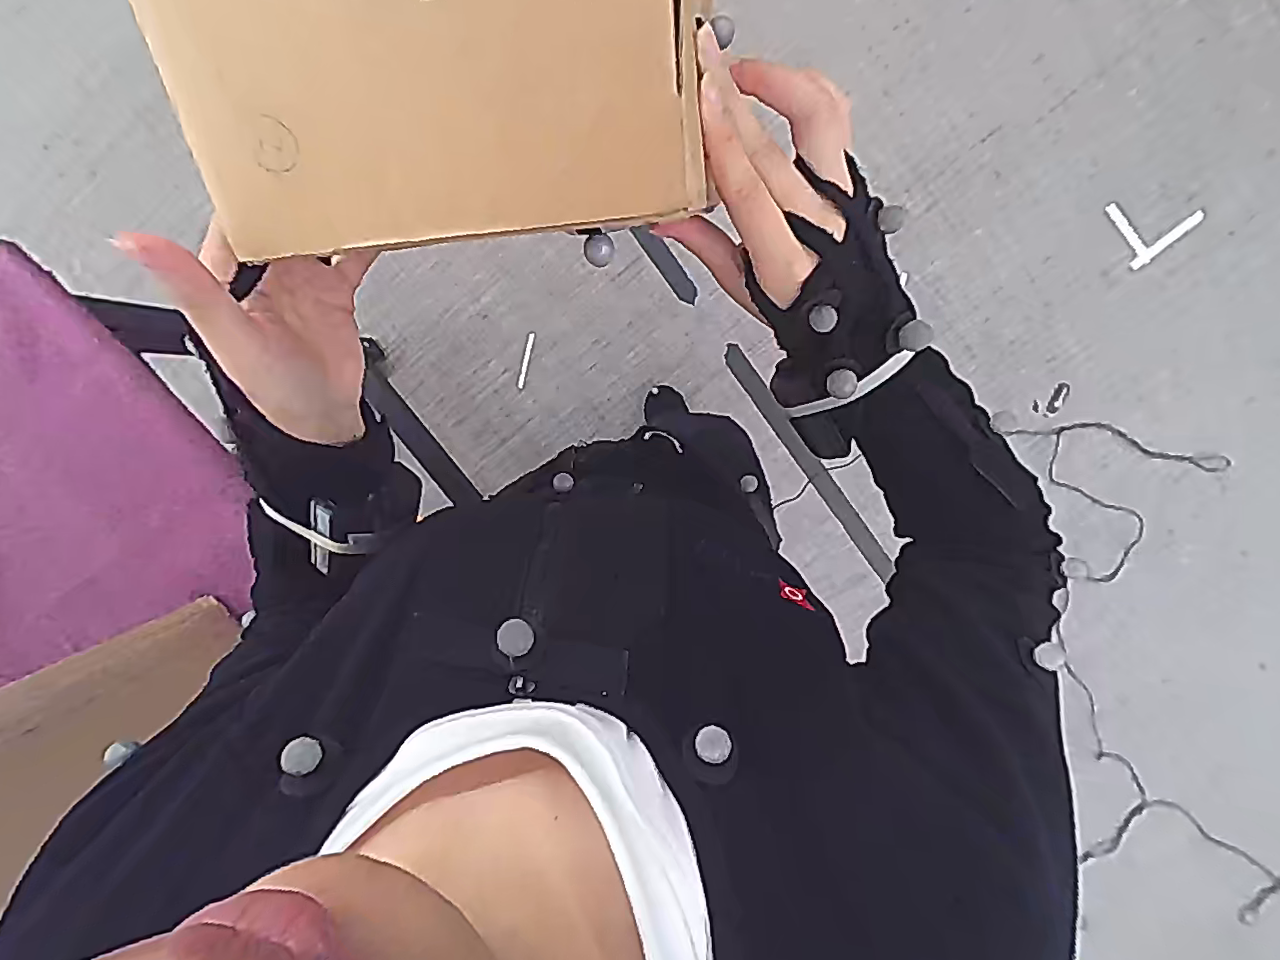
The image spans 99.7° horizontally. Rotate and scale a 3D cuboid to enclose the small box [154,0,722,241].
[{"bbox_3d":[-0.059,-0.197,0.224,0.179,0.176,0.168,-1,117,11],"label":"small box"}]
